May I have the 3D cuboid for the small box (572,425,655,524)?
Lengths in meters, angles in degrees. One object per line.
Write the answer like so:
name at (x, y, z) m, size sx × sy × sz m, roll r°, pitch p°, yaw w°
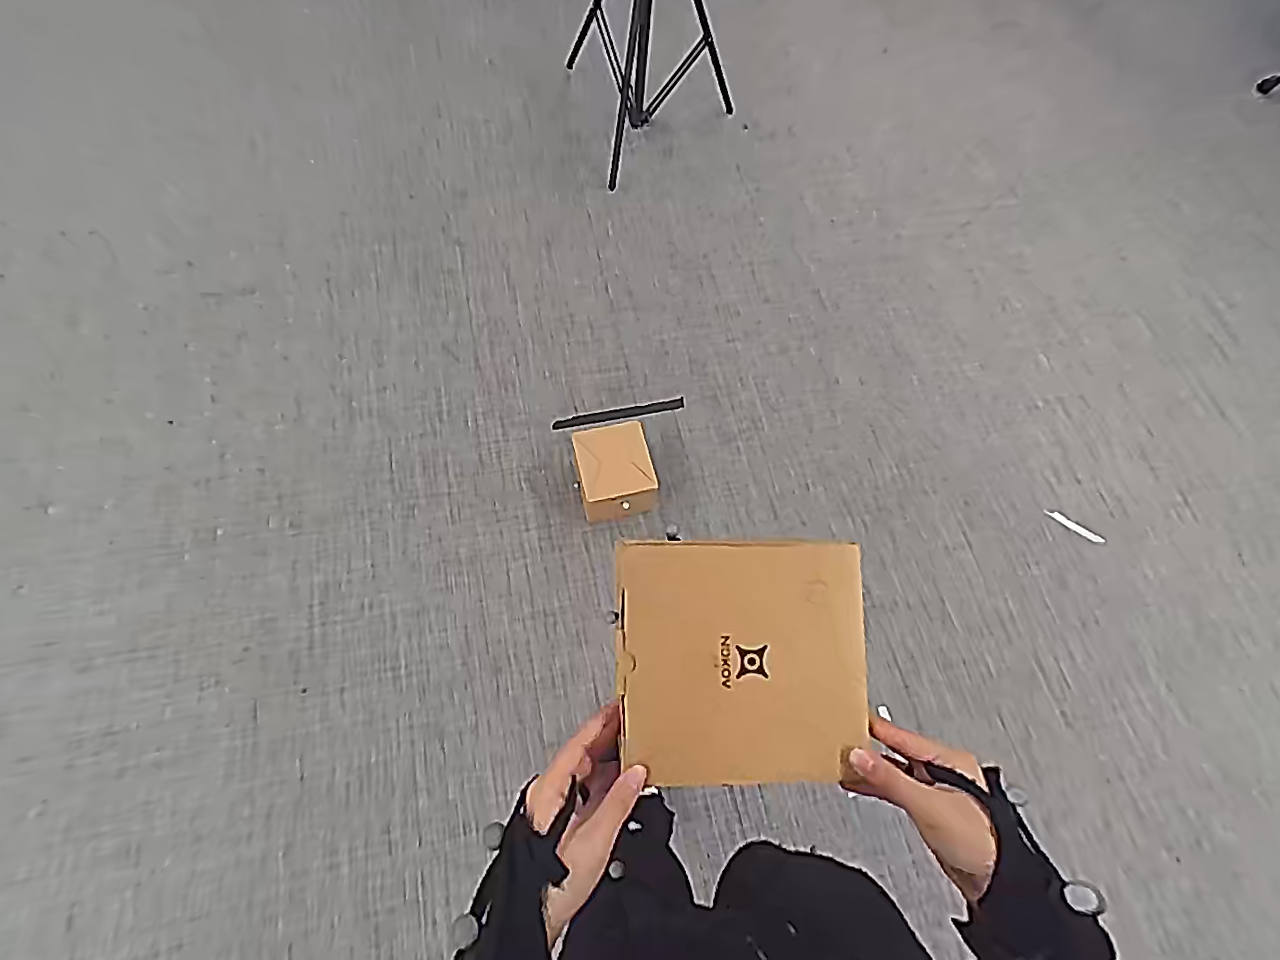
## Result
small box at (-0.067, -0.014, 1.302) m, size 0.168 × 0.176 × 0.179 m, roll -12°, pitch 70°, yaw -9°

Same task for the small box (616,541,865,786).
small box at (0.069, 0.137, 0.464) m, size 0.179 × 0.176 × 0.168 m, roll 0°, pitch 85°, yaw -3°
